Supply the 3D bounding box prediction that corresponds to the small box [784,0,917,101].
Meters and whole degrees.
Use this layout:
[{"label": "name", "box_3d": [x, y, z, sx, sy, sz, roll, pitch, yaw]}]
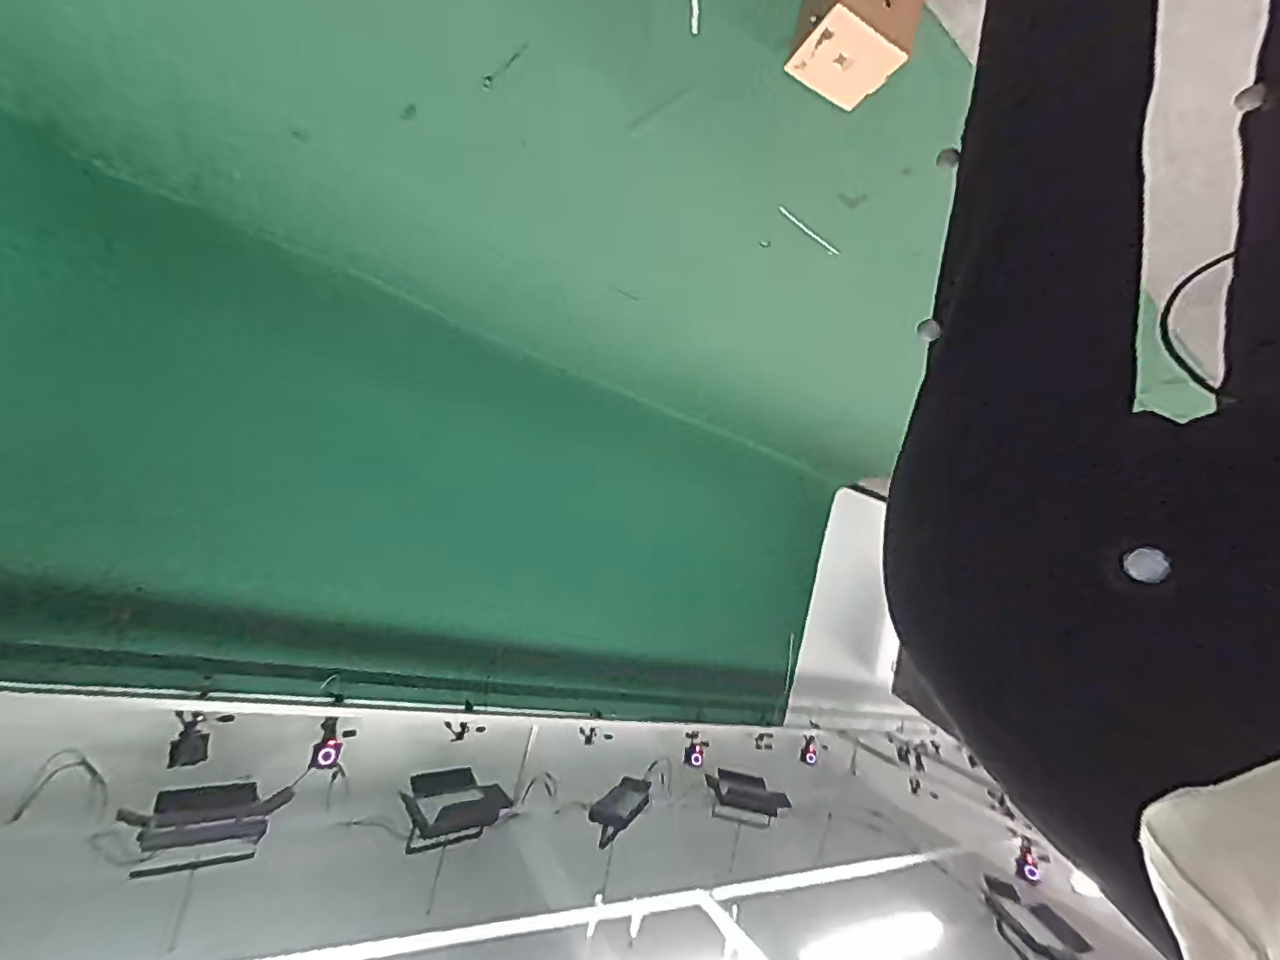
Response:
[{"label": "small box", "box_3d": [0.414, -0.901, 1.047, 0.179, 0.176, 0.168, 16, 174, -20]}]
